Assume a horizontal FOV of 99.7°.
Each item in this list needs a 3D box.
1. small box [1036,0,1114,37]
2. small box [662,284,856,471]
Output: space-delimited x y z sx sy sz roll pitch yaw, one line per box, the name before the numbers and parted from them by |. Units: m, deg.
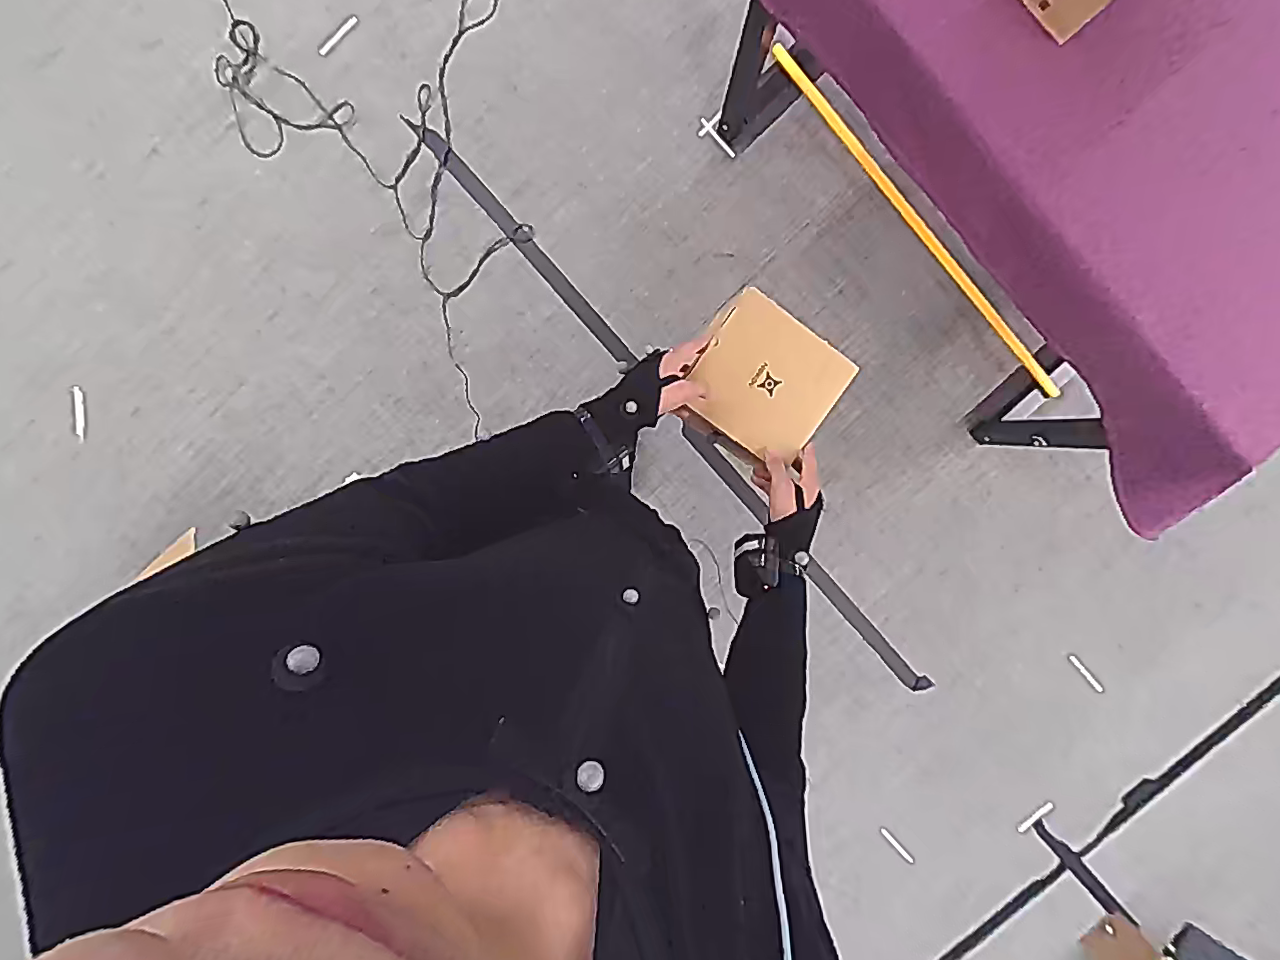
small box | 0.641 -0.760 0.718 0.179 0.176 0.168 -44 95 4
small box | 0.149 -0.134 0.742 0.179 0.176 0.168 35 93 -6
